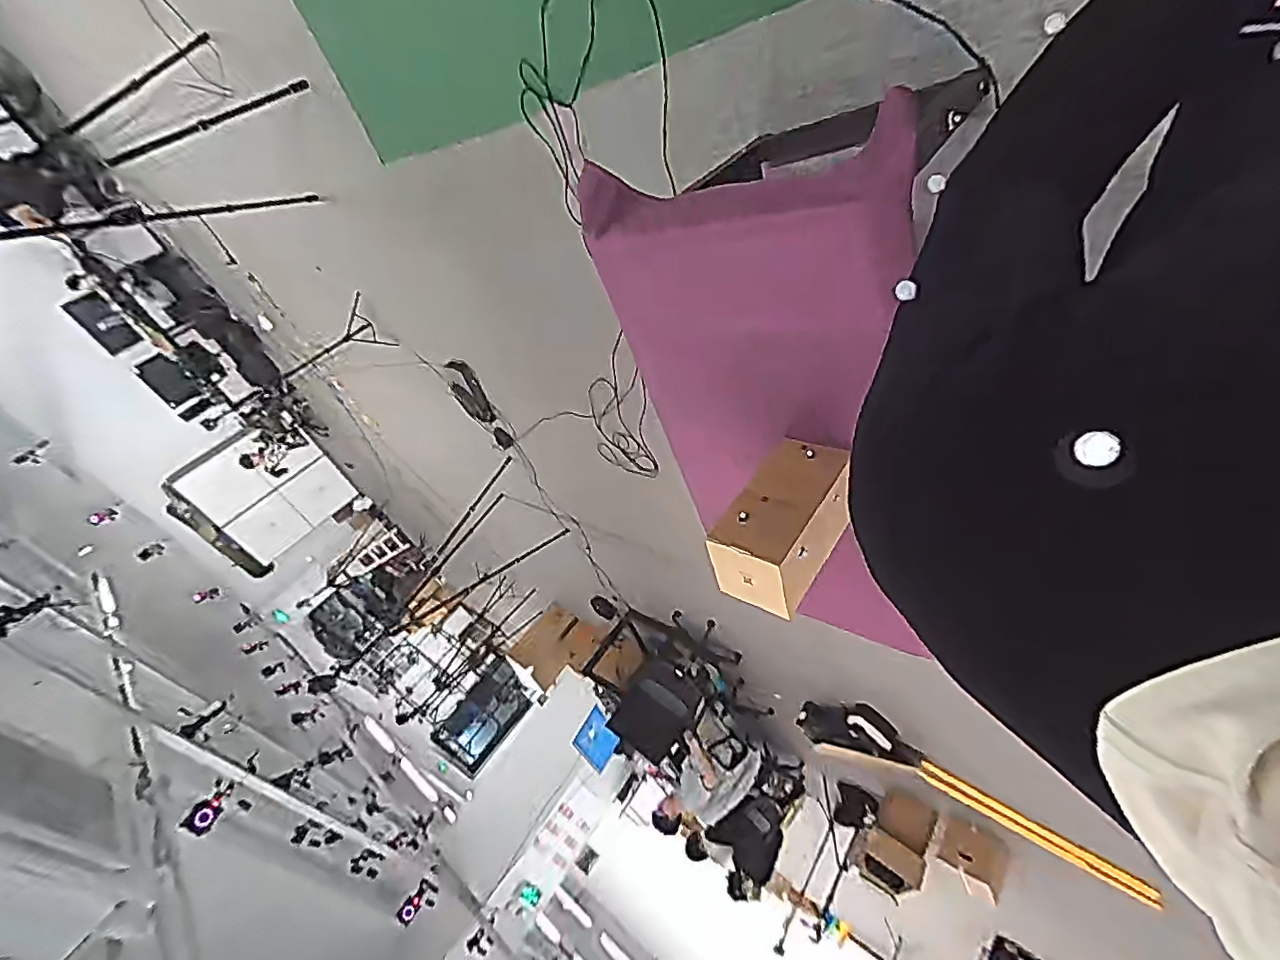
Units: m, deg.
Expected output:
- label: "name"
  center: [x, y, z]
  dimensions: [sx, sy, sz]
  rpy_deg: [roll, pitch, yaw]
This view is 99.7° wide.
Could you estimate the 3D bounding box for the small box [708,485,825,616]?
- label: "small box"
  center: [0.263, 0.136, 1.102]
  dimensions: [0.168, 0.176, 0.179]
  rpy_deg: [18, 143, 38]
